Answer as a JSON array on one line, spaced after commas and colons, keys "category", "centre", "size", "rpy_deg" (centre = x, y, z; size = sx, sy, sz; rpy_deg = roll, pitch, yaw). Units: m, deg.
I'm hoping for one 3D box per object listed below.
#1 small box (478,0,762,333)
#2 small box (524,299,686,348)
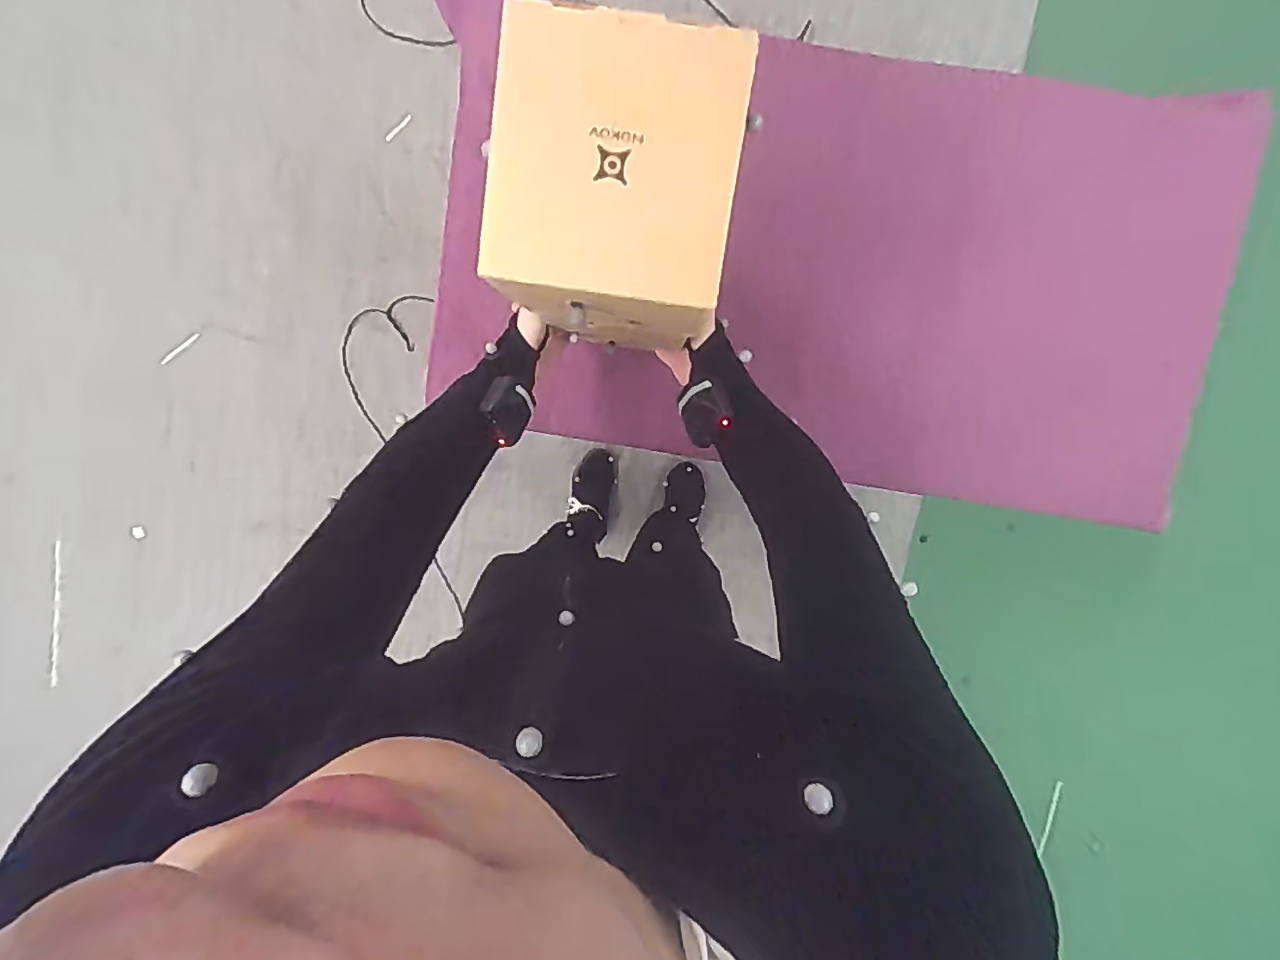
[{"category": "small box", "centre": [-0.014, -0.221, 0.425], "size": [0.168, 0.176, 0.179], "rpy_deg": [8, 97, 0]}, {"category": "small box", "centre": [-0.017, -0.248, 0.585], "size": [0.168, 0.176, 0.179], "rpy_deg": [9, 96, -1]}]
